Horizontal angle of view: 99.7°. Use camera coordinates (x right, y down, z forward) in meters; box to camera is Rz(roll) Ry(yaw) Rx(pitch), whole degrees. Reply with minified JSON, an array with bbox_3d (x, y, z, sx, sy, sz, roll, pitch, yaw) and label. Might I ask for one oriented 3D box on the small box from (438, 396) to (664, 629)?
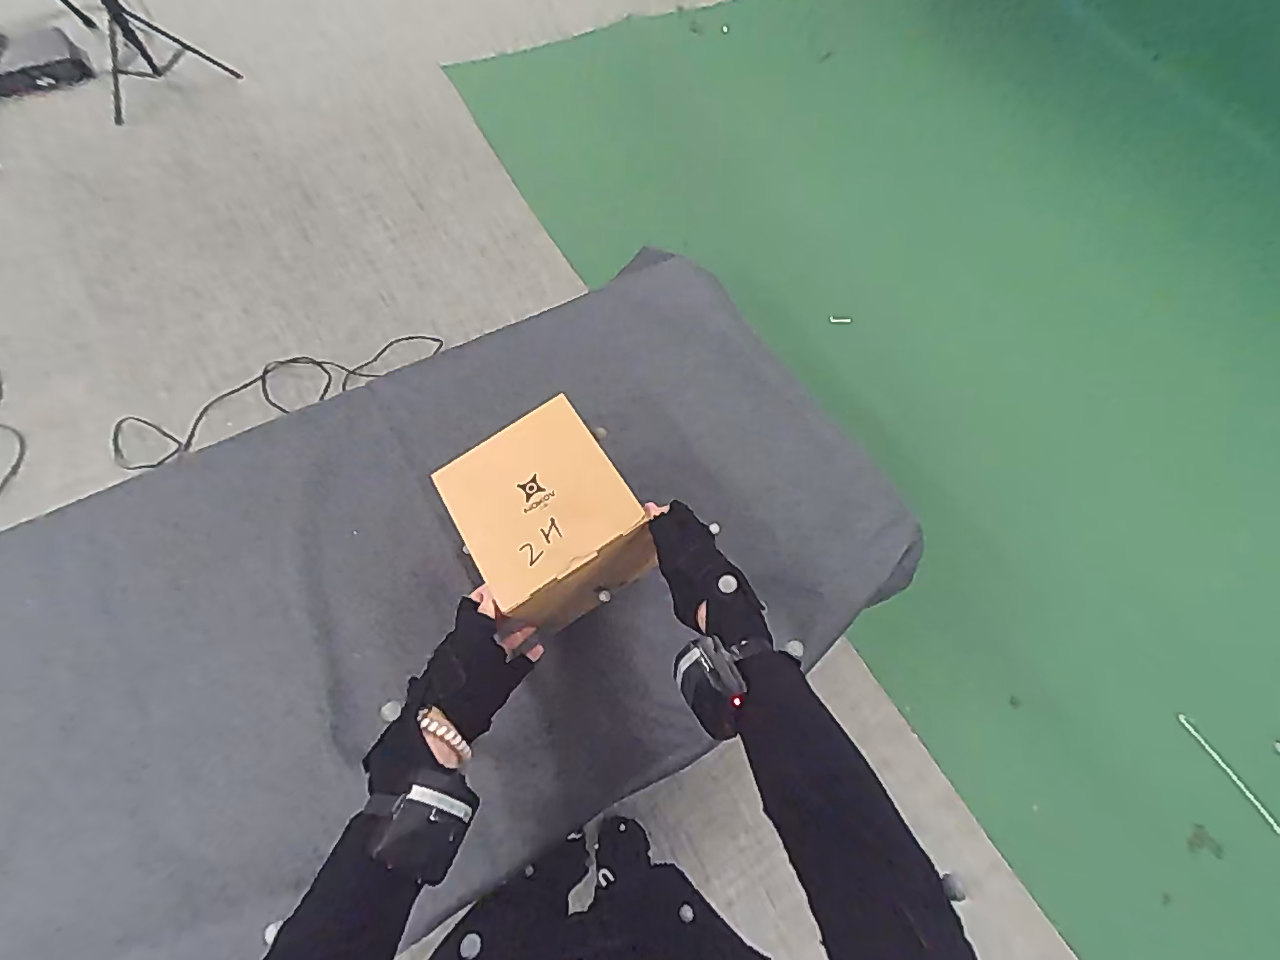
[{"bbox_3d":[-0.090,0.046,0.613,0.168,0.176,0.179,-33,67,-5],"label":"small box"}]
